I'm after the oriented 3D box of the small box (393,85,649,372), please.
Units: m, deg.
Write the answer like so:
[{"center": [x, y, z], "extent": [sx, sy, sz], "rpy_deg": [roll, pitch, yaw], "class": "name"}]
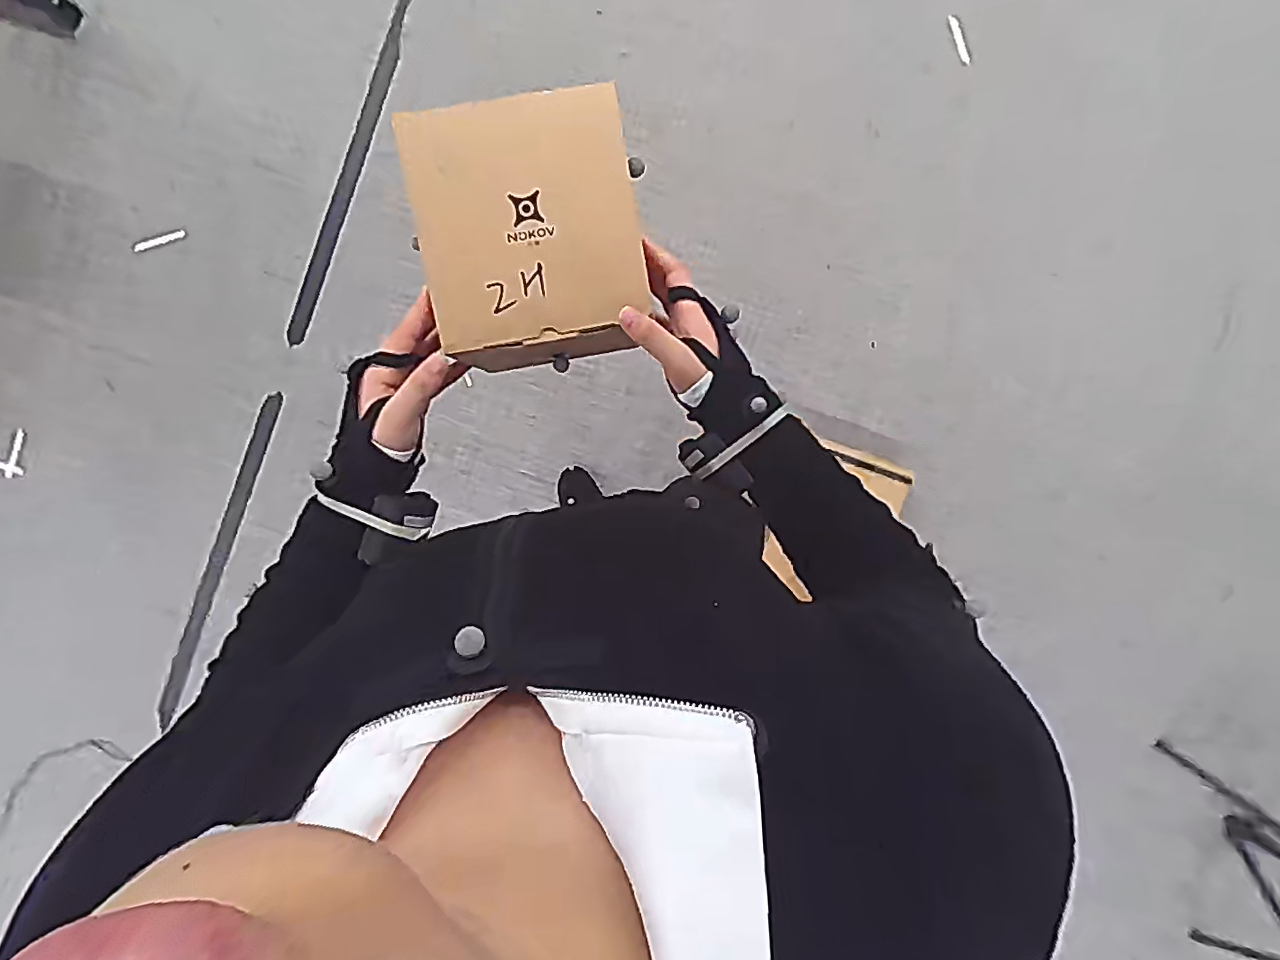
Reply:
[{"center": [-0.092, -0.203, 0.483], "extent": [0.168, 0.176, 0.179], "rpy_deg": [-11, 97, -3], "class": "small box"}]
